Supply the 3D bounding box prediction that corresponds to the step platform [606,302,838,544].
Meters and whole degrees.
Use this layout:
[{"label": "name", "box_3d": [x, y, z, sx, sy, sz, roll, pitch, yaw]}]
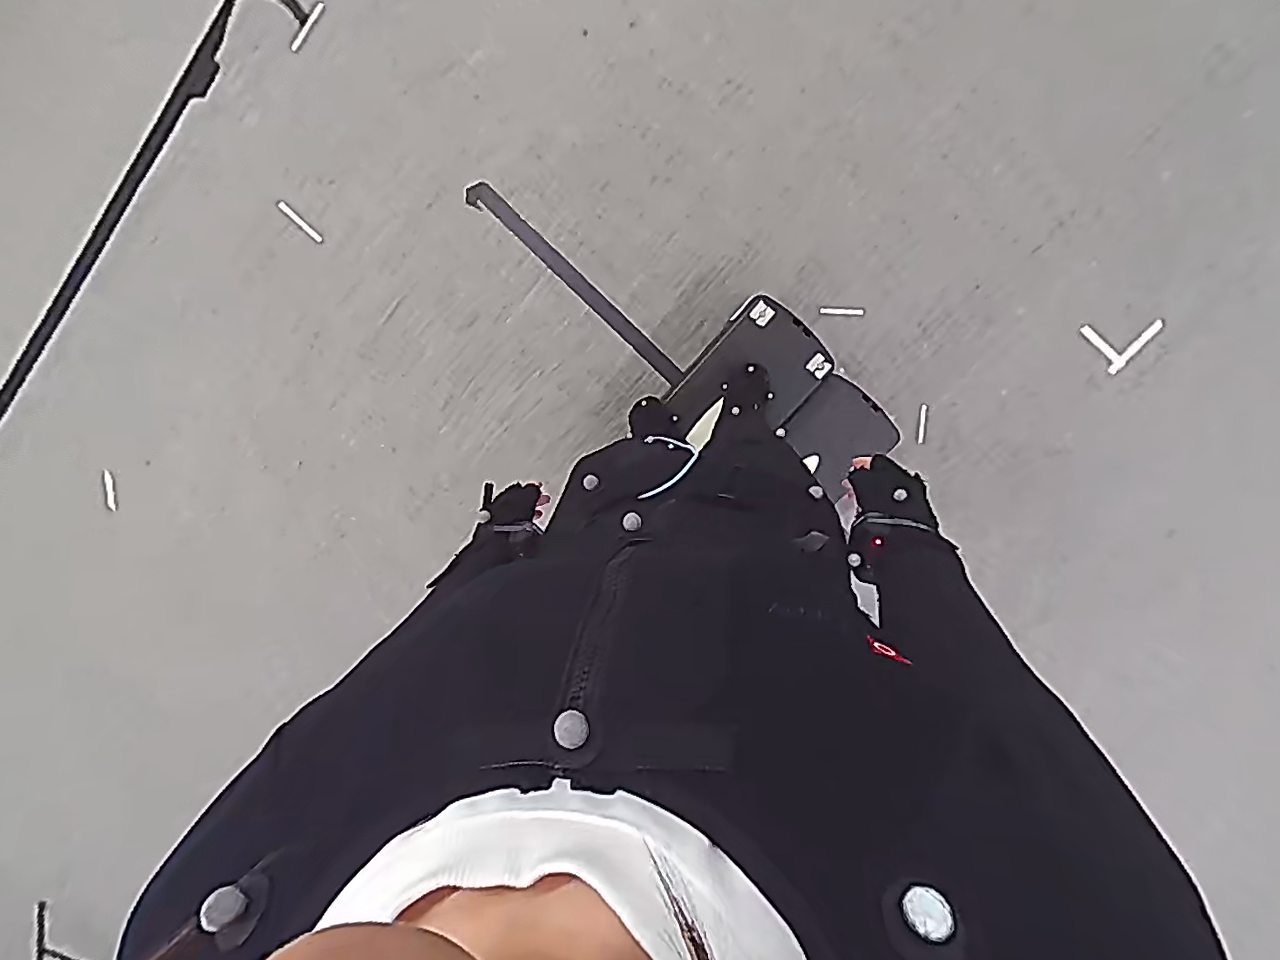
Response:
[{"label": "step platform", "box_3d": [0.210, -0.149, 1.494, 0.286, 0.204, 0.684, 41, 100, -5]}]
